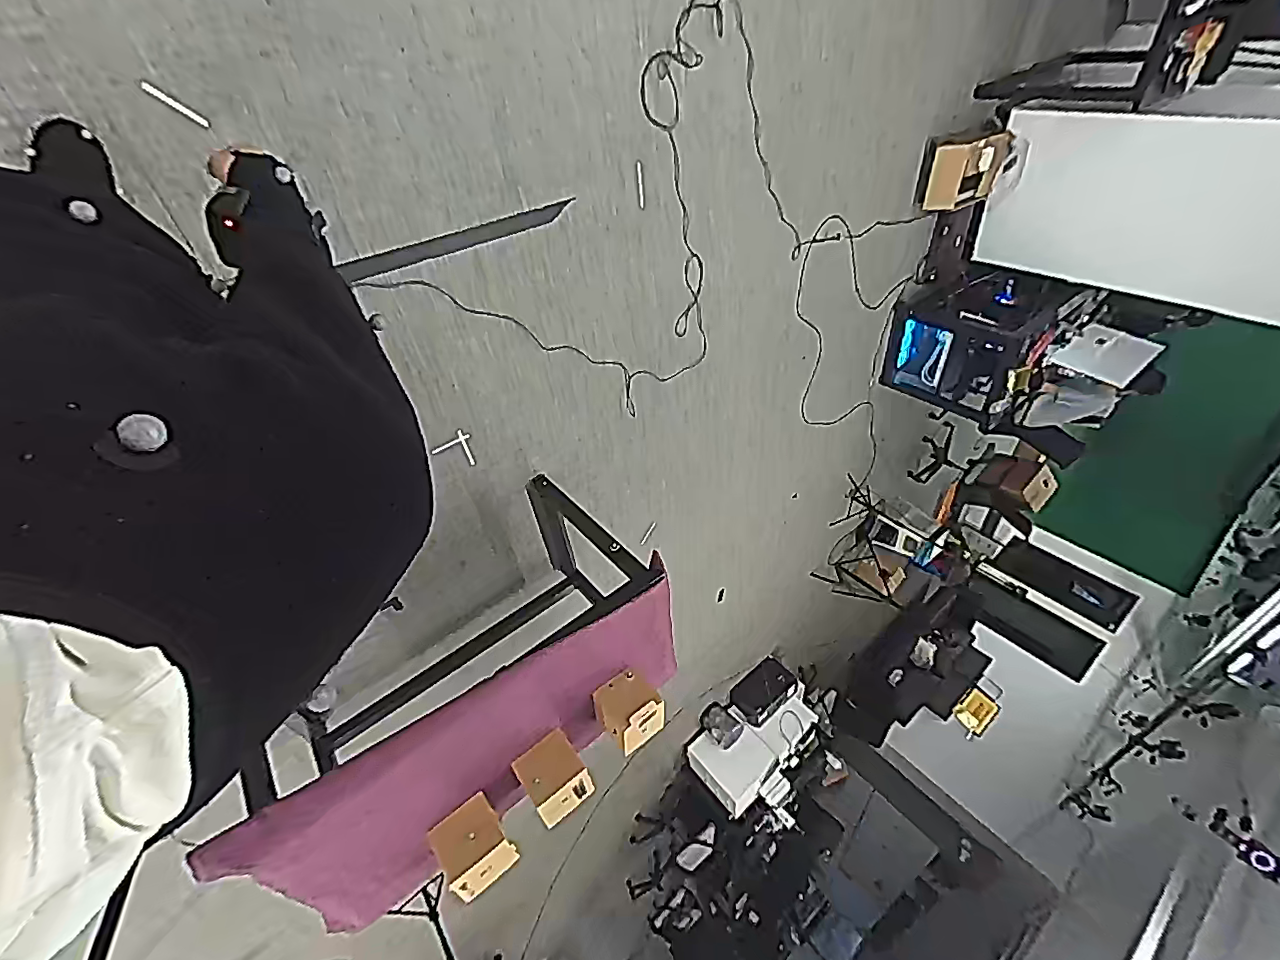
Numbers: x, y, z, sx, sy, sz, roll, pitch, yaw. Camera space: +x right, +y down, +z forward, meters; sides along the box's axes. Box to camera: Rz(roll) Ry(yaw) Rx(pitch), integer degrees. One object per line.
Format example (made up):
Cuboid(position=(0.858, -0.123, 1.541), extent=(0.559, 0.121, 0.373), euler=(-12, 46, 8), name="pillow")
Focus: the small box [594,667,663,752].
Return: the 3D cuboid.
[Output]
Cuboid(position=(-0.041, 0.753, 1.799), extent=(0.168, 0.176, 0.179), euler=(-26, 134, -29), name="small box")
